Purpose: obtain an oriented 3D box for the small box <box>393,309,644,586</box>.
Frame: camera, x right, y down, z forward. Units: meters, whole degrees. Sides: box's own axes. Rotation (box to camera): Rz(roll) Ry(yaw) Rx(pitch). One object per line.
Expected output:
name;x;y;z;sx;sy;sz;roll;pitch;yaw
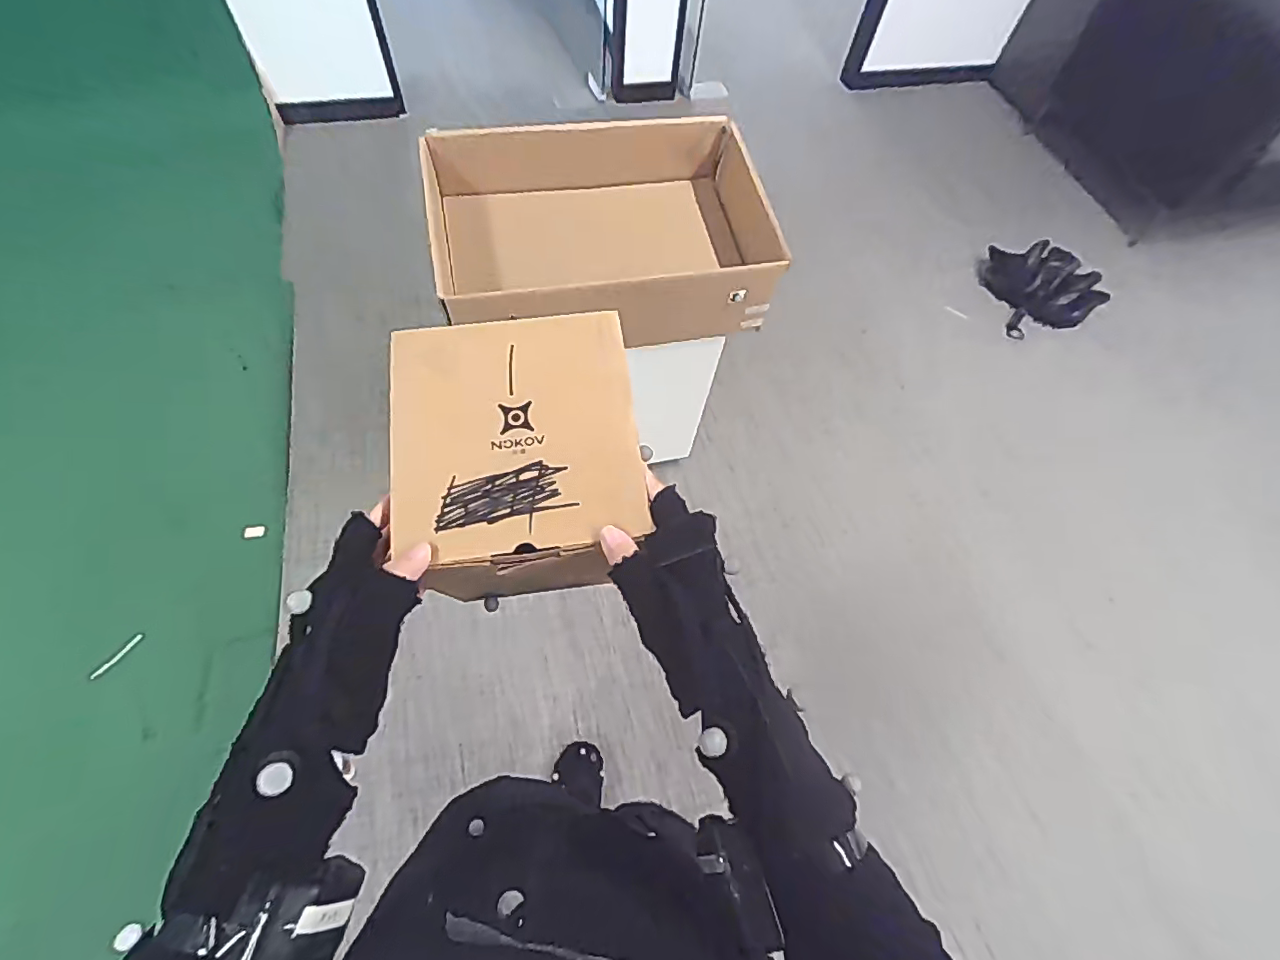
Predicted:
small box;-0.088;-0.012;0.449;0.168;0.176;0.179;-7;71;-5
